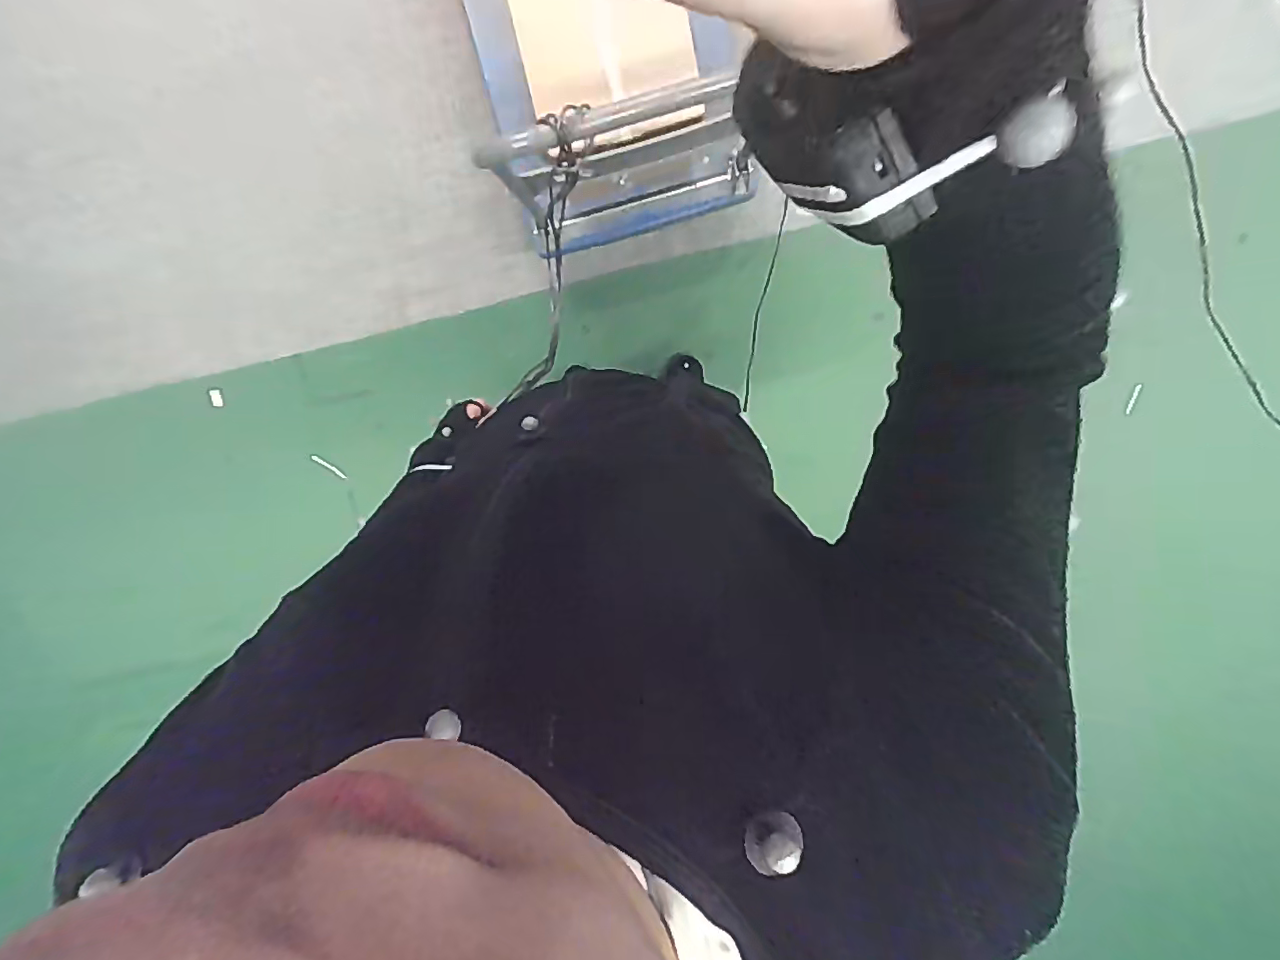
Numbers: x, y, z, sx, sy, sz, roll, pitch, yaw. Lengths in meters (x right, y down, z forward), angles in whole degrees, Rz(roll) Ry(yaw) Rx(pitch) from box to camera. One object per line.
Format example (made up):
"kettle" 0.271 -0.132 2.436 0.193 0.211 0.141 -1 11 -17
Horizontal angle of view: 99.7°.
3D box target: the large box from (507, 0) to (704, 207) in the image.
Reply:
"large box" -0.069 -0.863 1.141 0.320 0.320 0.408 -13 101 3
